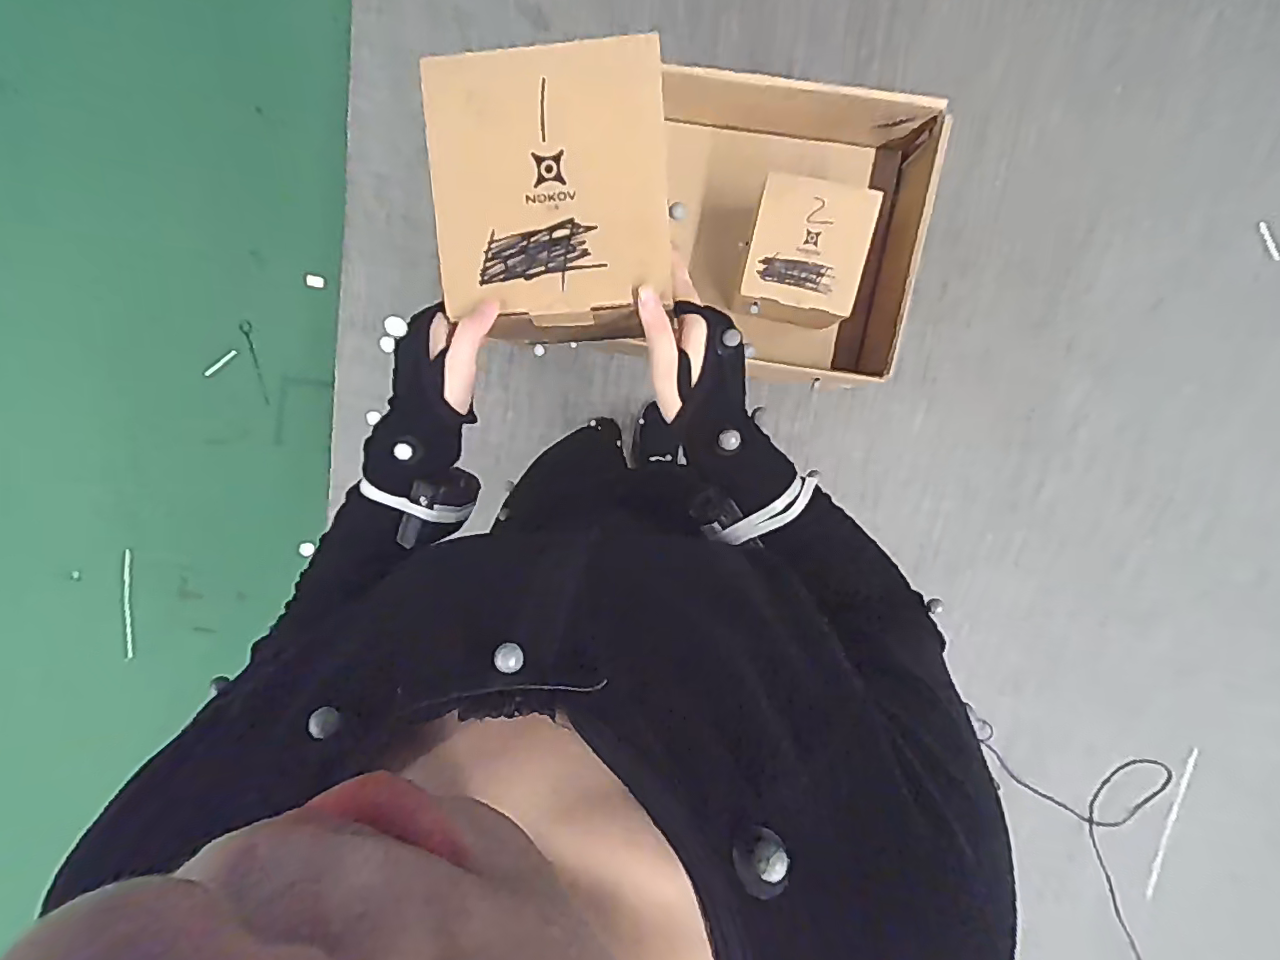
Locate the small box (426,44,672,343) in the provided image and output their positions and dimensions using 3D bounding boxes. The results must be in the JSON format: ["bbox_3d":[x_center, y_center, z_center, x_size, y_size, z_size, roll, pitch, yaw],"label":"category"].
[{"bbox_3d":[-0.059,-0.215,0.459,0.168,0.176,0.179,-3,96,4],"label":"small box"}]
